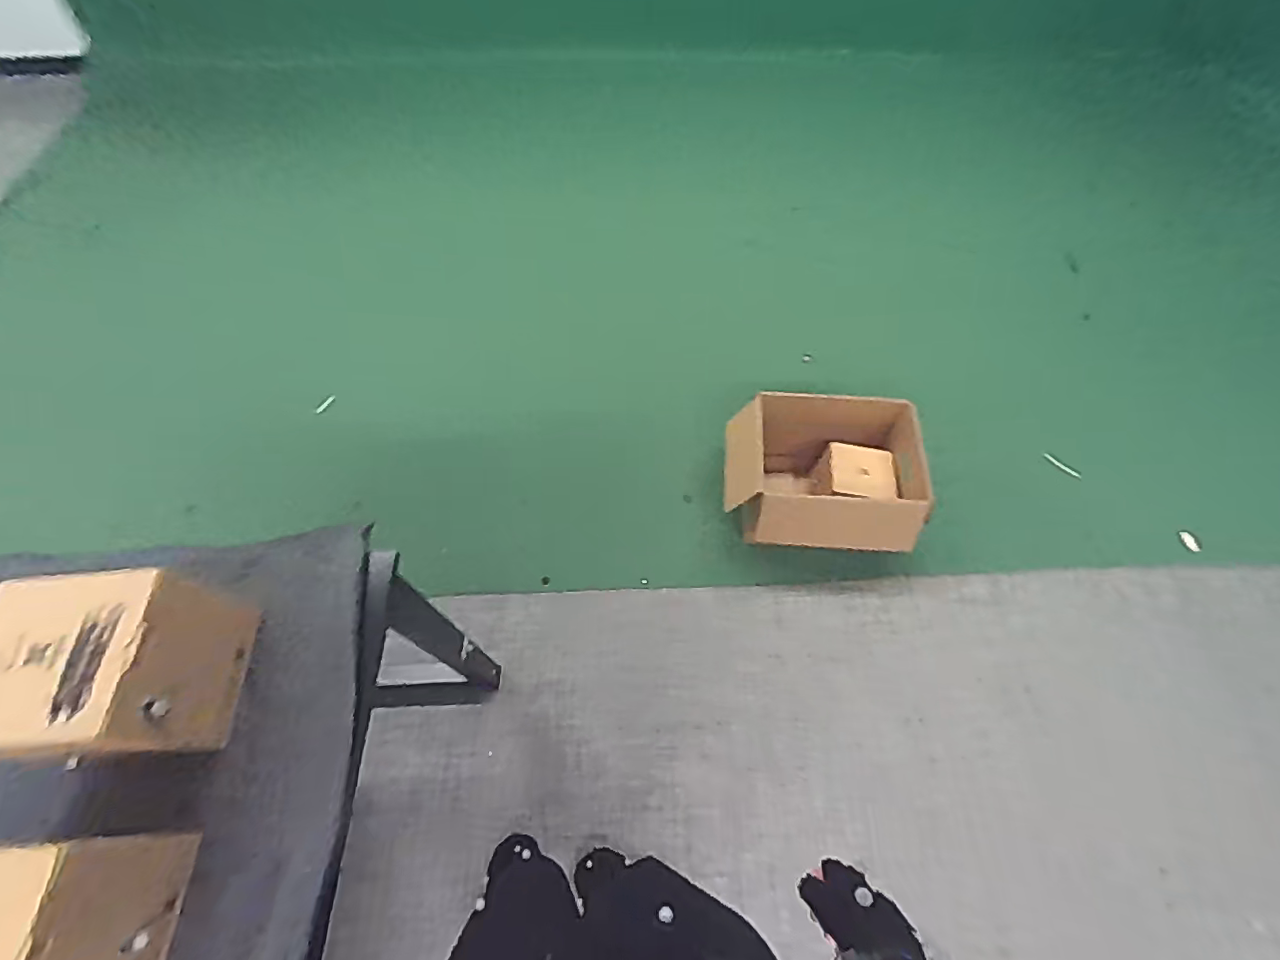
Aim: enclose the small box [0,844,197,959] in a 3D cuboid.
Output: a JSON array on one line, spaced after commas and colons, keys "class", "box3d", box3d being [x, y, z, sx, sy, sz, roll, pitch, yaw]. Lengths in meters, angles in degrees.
[{"class": "small box", "box3d": [-0.558, 0.428, 0.475, 0.179, 0.176, 0.168, -3, 60, -2]}]
